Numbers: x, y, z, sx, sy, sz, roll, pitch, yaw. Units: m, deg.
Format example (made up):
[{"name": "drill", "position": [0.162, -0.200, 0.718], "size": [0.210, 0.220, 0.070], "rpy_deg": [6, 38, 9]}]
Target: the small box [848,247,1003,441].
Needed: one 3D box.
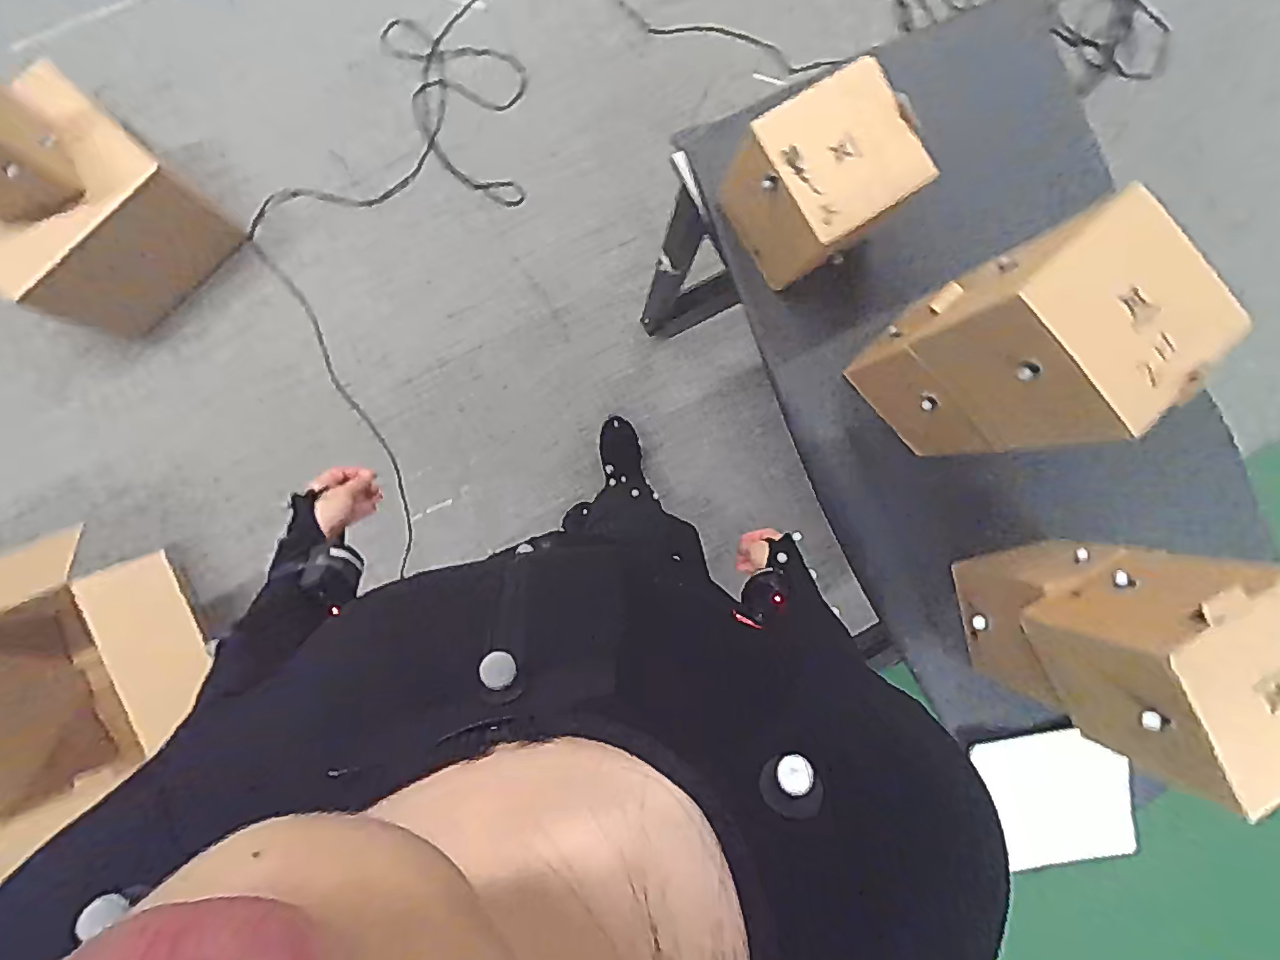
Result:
[{"name": "small box", "position": [0.424, -0.169, 0.738], "size": [0.168, 0.176, 0.179], "rpy_deg": [-44, 94, -4]}]

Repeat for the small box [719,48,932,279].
[{"name": "small box", "position": [0.232, -0.403, 0.720], "size": [0.179, 0.176, 0.168], "rpy_deg": [-32, 93, -5]}]

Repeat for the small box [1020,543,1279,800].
[{"name": "small box", "position": [0.568, 0.184, 0.579], "size": [0.168, 0.176, 0.179], "rpy_deg": [-28, 91, -6]}]

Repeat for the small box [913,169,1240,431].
[{"name": "small box", "position": [0.437, -0.169, 0.573], "size": [0.168, 0.176, 0.179], "rpy_deg": [-41, 93, -4]}]

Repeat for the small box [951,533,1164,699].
[{"name": "small box", "position": [0.573, 0.173, 0.744], "size": [0.179, 0.176, 0.168], "rpy_deg": [-12, 89, -5]}]
